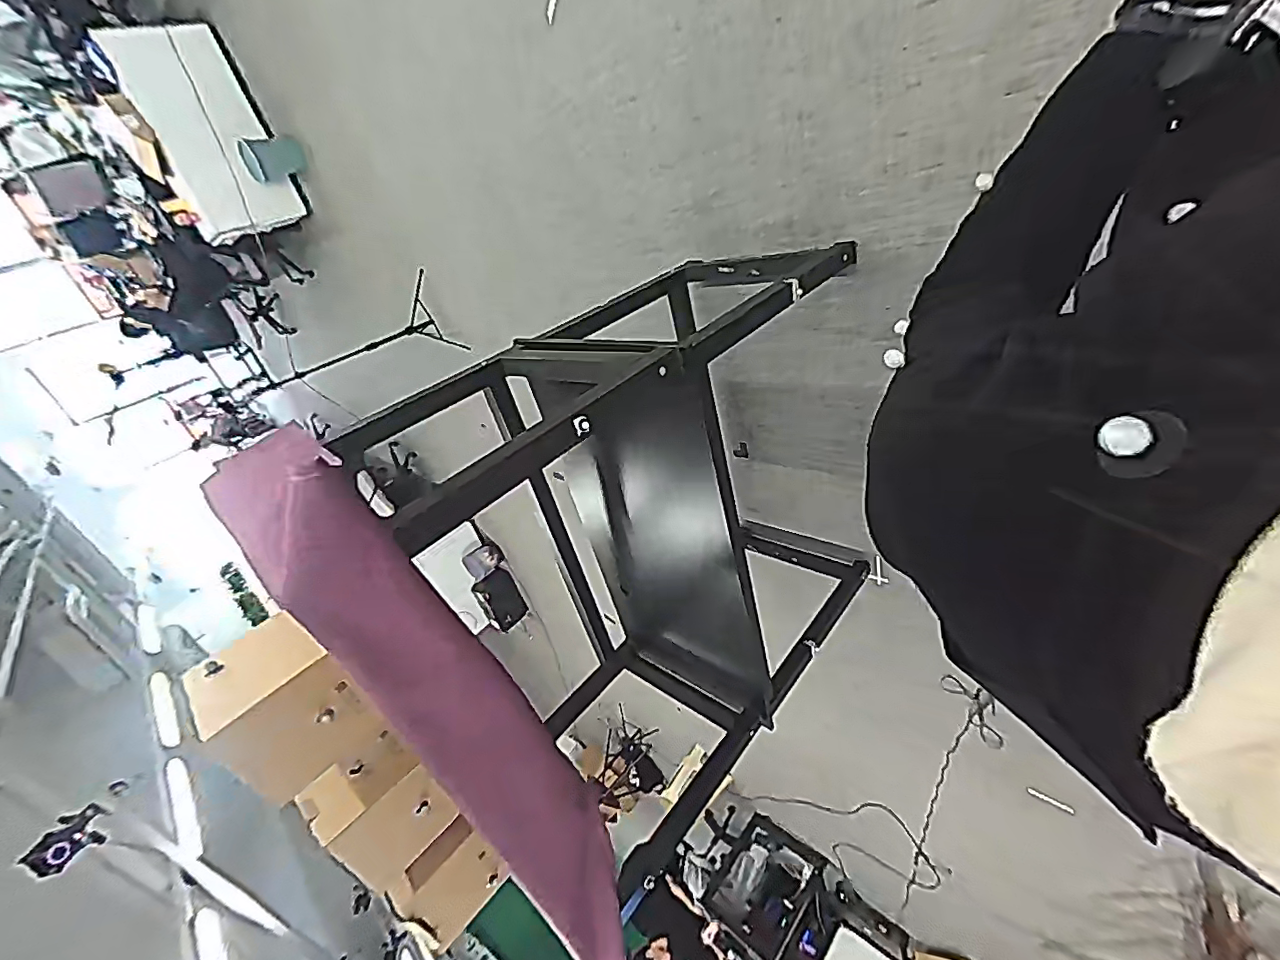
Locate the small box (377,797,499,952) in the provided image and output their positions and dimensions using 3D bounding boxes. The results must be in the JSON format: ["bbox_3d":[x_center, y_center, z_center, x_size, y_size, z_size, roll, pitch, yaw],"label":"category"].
[{"bbox_3d":[-0.397,0.735,1.045,0.179,0.176,0.168,12,131,46],"label":"small box"}]

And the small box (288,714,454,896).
[{"bbox_3d":[-0.454,0.543,0.925,0.168,0.176,0.179,19,135,41],"label":"small box"}]

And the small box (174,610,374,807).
[{"bbox_3d":[-0.527,0.320,0.793,0.179,0.176,0.168,19,136,41],"label":"small box"}]
